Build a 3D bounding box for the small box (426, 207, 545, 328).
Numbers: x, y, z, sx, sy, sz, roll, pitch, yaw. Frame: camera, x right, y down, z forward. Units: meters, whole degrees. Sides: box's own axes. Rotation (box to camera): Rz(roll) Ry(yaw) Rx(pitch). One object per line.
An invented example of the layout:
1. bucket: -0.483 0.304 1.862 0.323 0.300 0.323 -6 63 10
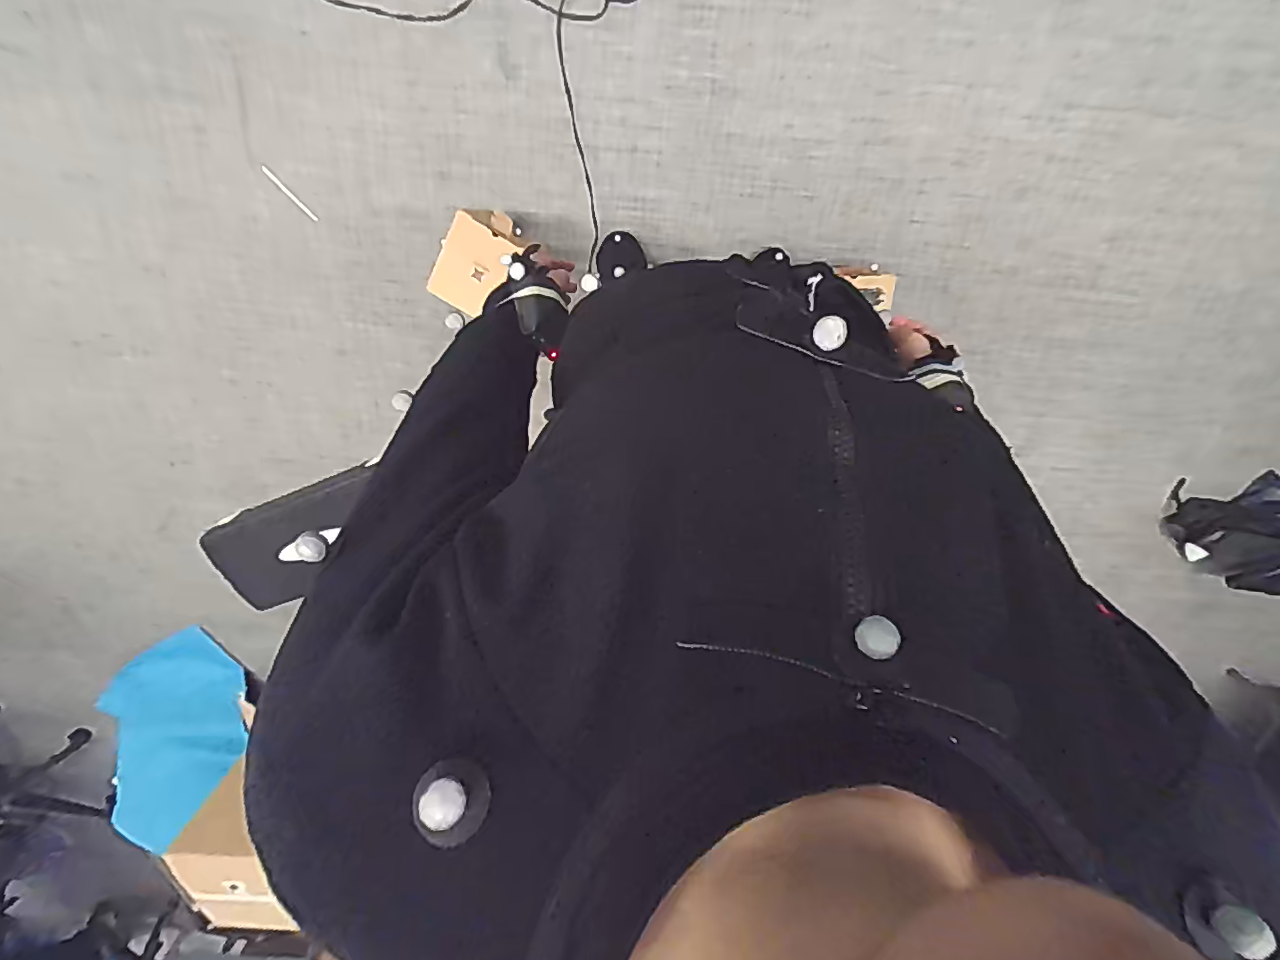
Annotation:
1. small box: -0.319 -0.453 1.152 0.168 0.176 0.179 29 113 -10
